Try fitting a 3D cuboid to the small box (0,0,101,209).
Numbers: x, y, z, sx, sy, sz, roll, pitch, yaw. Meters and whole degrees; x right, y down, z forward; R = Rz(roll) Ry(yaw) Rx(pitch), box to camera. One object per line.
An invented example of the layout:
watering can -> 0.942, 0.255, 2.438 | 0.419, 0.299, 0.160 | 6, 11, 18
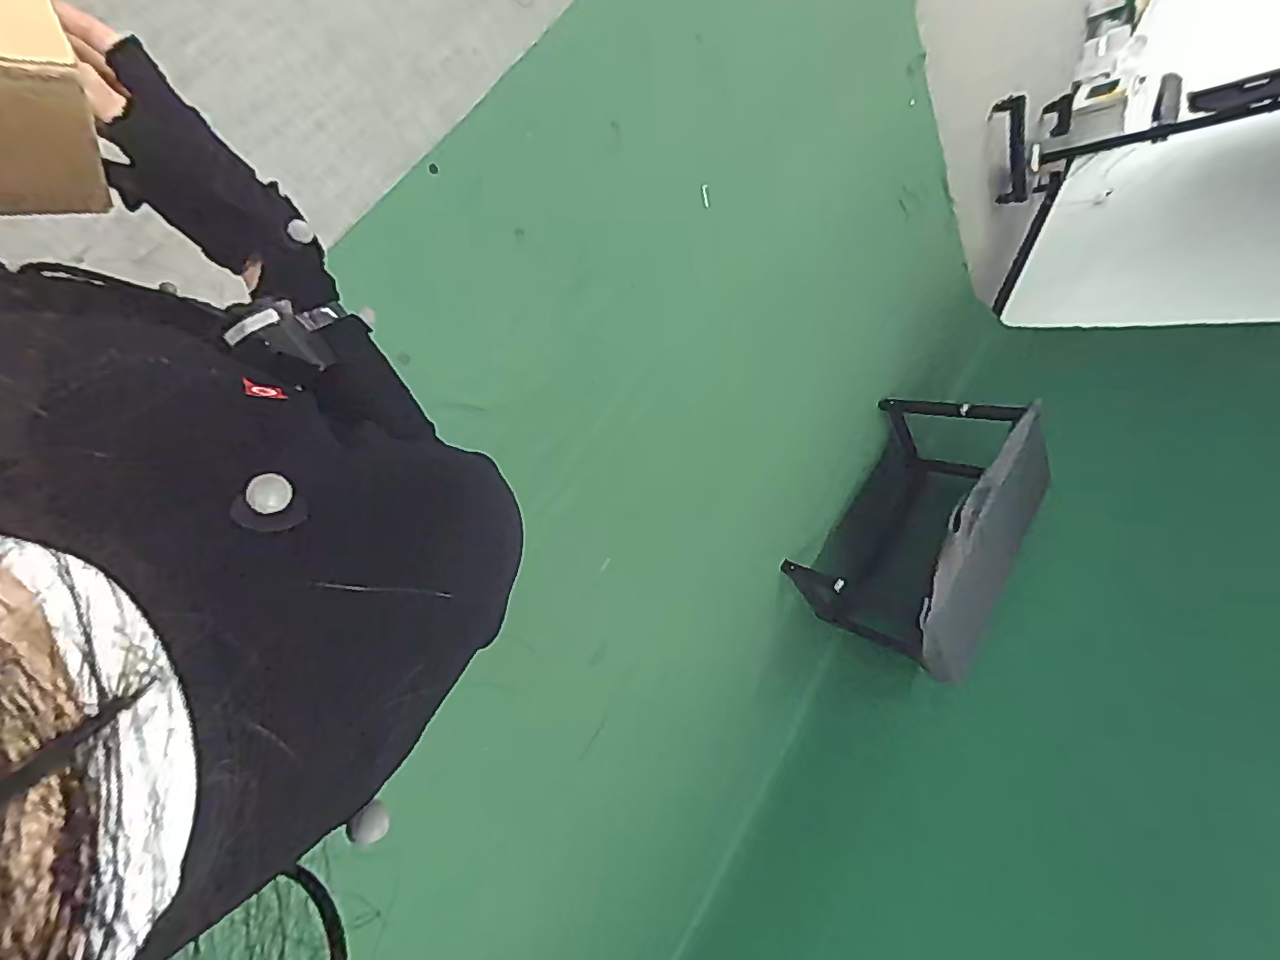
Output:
small box -> -0.408, -0.253, 0.258 | 0.168, 0.176, 0.179 | -27, 106, -38
